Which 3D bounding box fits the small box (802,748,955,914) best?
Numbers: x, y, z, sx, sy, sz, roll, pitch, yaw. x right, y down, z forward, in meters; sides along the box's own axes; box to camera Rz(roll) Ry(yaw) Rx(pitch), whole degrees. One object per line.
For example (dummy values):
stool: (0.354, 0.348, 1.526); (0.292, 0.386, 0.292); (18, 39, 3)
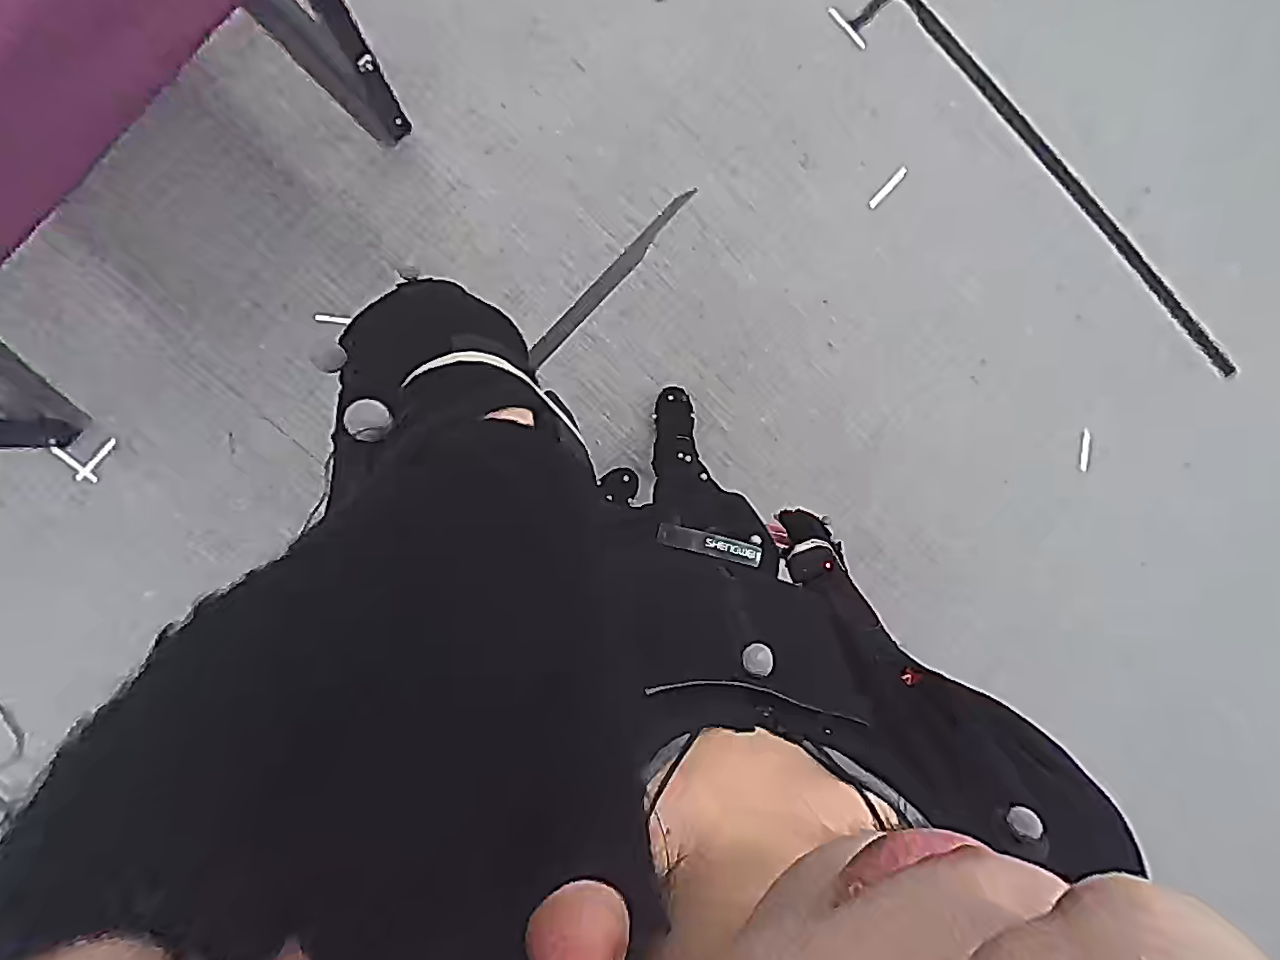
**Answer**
small box: (0.446, 0.660, 1.039); (0.168, 0.176, 0.179); (36, 88, -9)
